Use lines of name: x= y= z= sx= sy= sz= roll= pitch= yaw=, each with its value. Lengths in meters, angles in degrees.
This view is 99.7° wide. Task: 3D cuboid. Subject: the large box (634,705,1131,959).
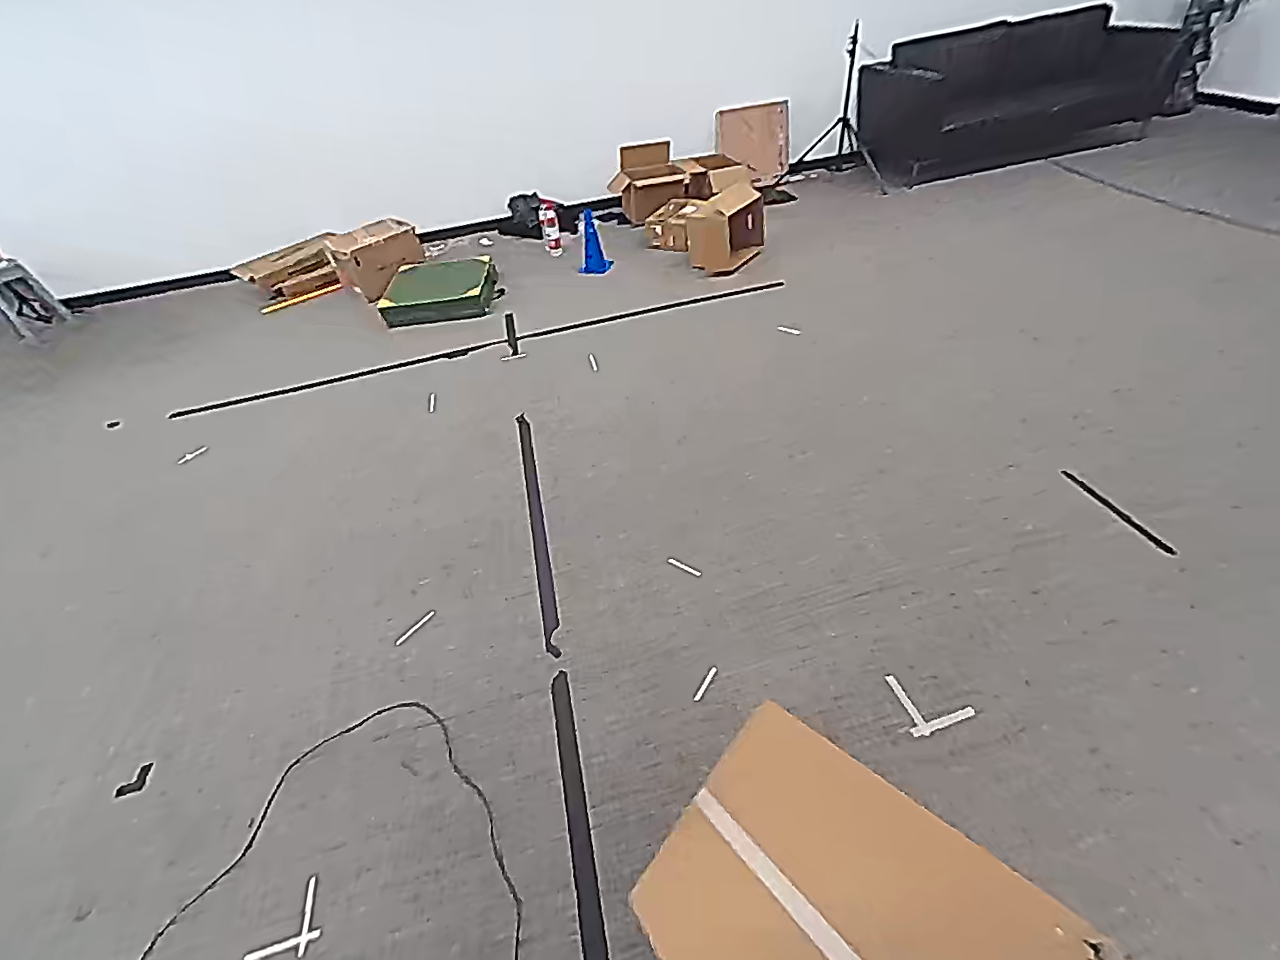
large box: x=0.269 y=0.541 z=0.610 sx=0.320 sy=0.320 sz=0.408 roll=-51 pitch=25 yaw=-14
